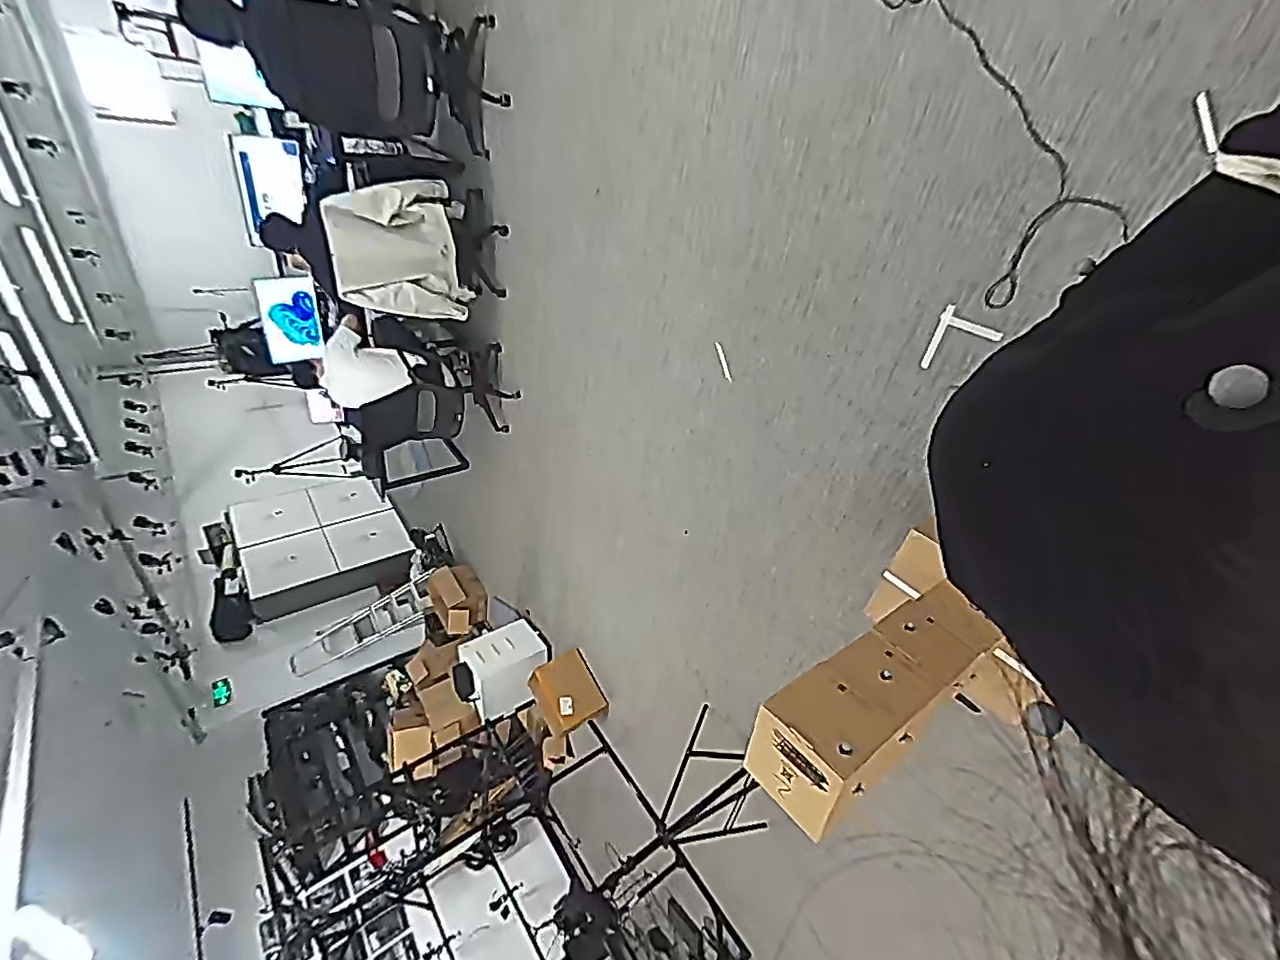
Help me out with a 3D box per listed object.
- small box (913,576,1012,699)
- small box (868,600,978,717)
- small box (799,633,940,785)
[{"bbox_3d":[0.698,0.351,1.226,0.168,0.176,0.179,40,133,37],"label":"small box"},{"bbox_3d":[0.569,0.384,1.134,0.168,0.176,0.179,40,135,39],"label":"small box"},{"bbox_3d":[0.442,0.429,1.040,0.168,0.176,0.179,37,131,42],"label":"small box"}]
